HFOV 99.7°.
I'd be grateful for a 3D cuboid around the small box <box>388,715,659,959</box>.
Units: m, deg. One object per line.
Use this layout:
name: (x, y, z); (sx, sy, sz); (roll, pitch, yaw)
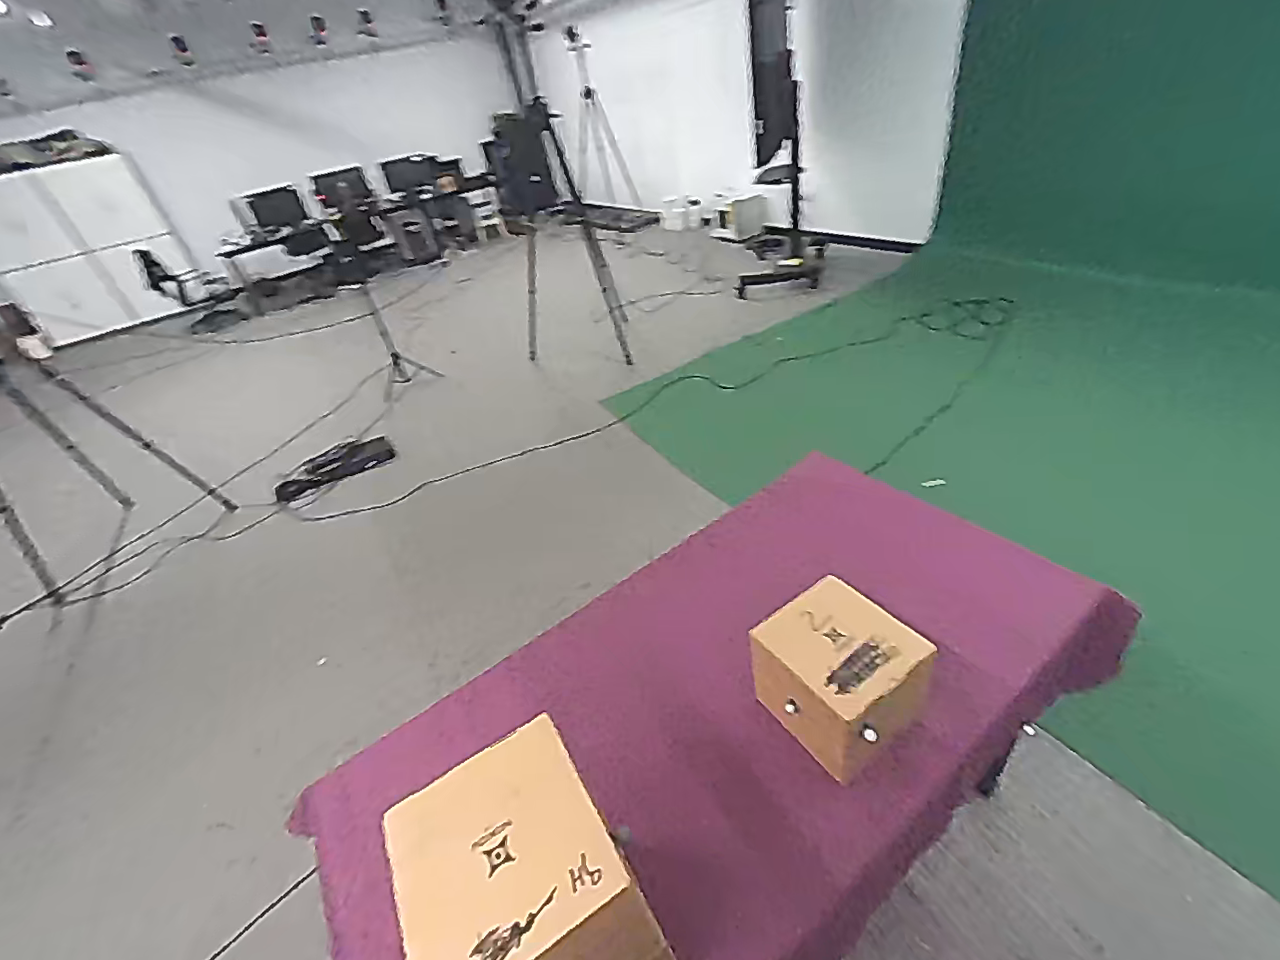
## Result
small box: (-0.104, 0.368, 0.498); (0.168, 0.176, 0.179); (-29, 38, -18)
